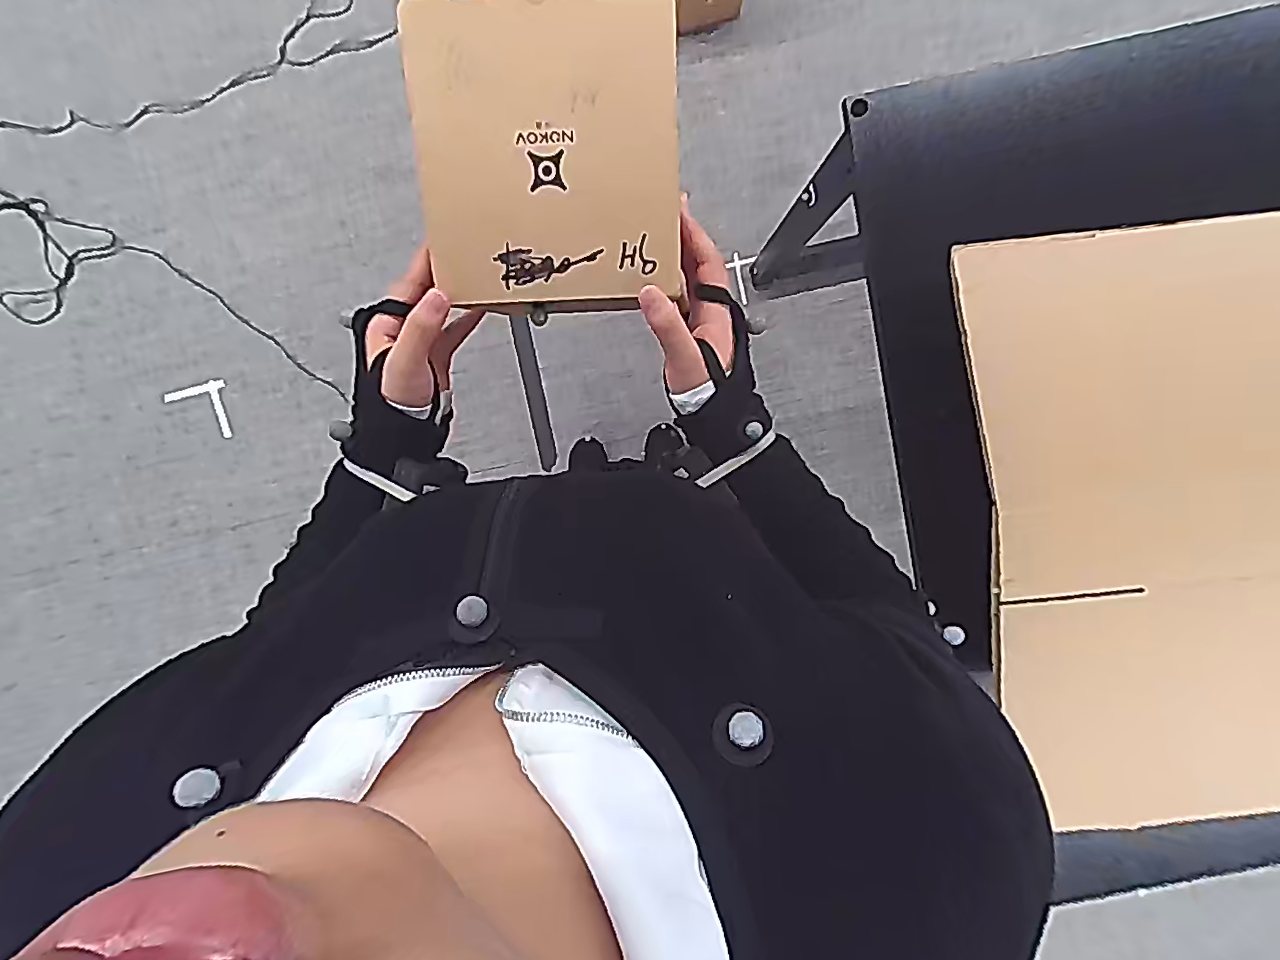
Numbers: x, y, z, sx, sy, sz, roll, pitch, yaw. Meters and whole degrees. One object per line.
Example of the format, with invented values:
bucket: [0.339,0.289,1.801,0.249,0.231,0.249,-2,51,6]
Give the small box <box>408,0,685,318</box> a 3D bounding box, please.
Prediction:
small box: [-0.056,-0.223,0.416,0.168,0.176,0.179,-2,104,0]

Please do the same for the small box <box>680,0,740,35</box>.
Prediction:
small box: [0.146,-1.218,1.290,0.179,0.176,0.168,-15,95,2]
